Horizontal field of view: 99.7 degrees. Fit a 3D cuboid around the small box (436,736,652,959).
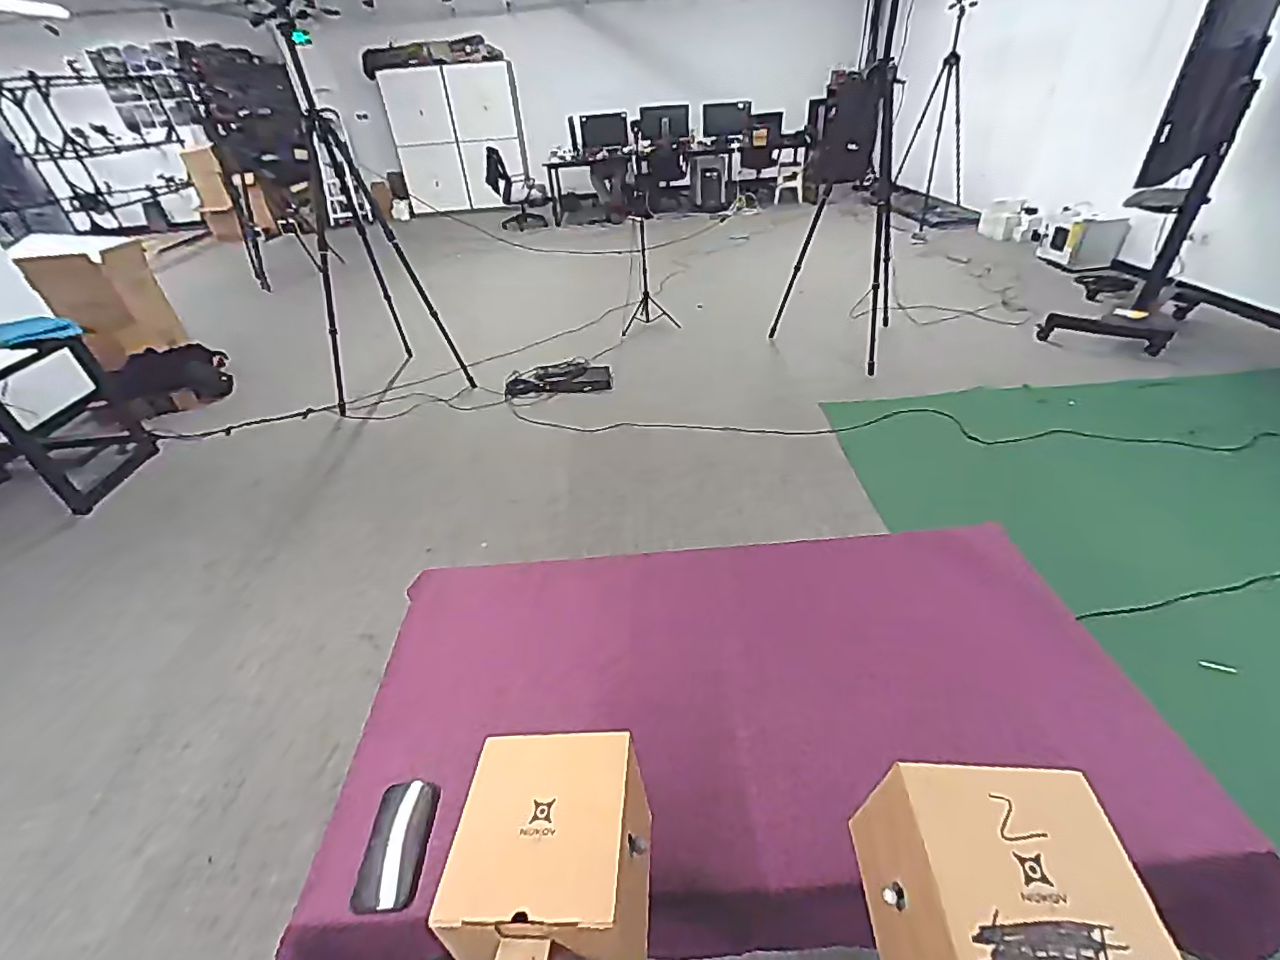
[{"bbox_3d":[-0.080,0.397,0.564,0.168,0.176,0.179,-5,31,7],"label":"small box"}]
